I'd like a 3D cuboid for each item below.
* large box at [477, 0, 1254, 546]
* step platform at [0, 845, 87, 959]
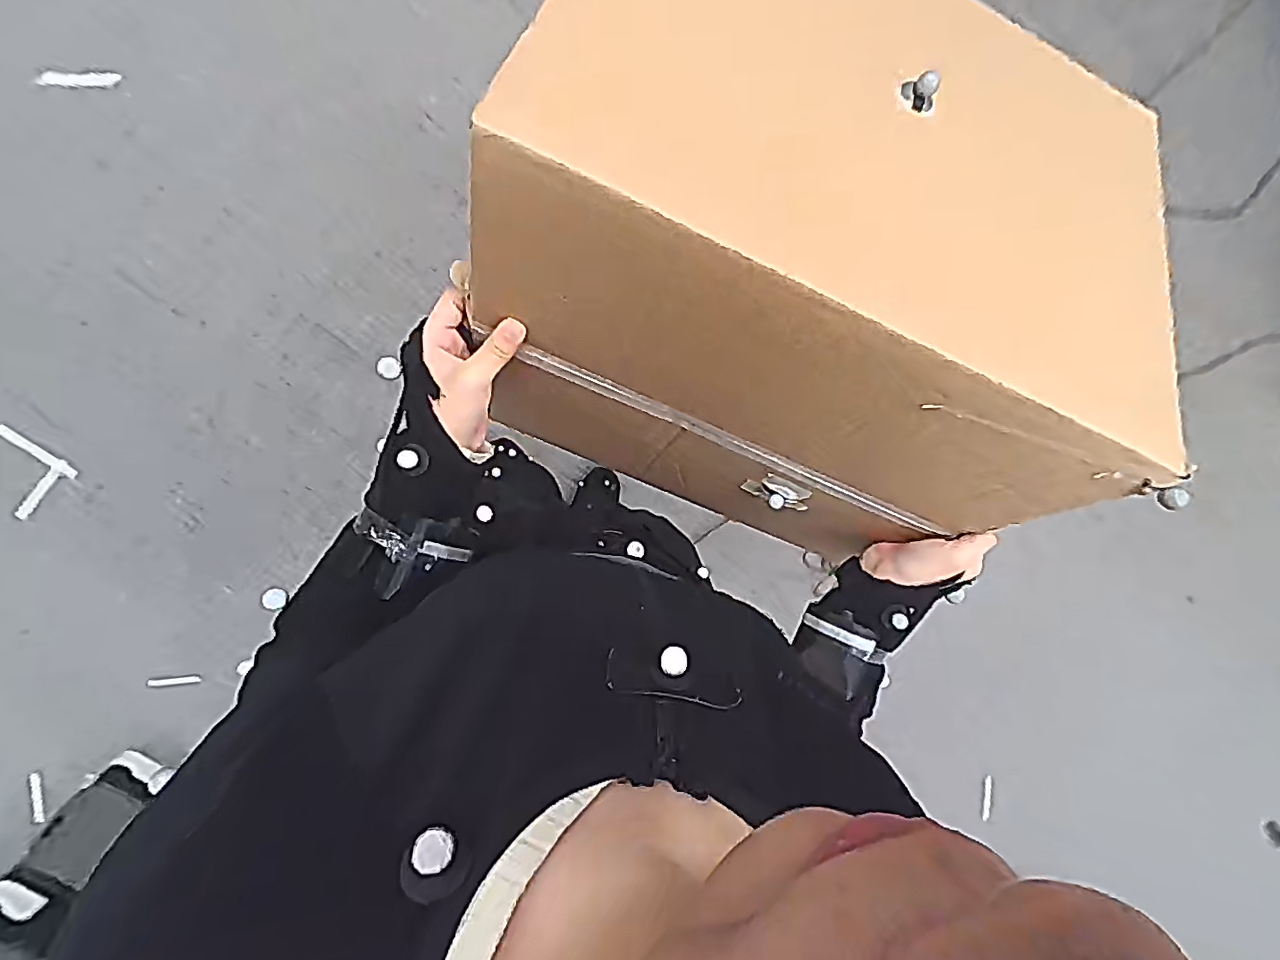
[{"bbox_3d":[0.121,-0.180,0.430,0.408,0.320,0.320,21,70,-9],"label":"large box"},{"bbox_3d":[-1.224,1.151,1.179,0.286,0.204,0.684,-44,99,-3],"label":"step platform"}]
